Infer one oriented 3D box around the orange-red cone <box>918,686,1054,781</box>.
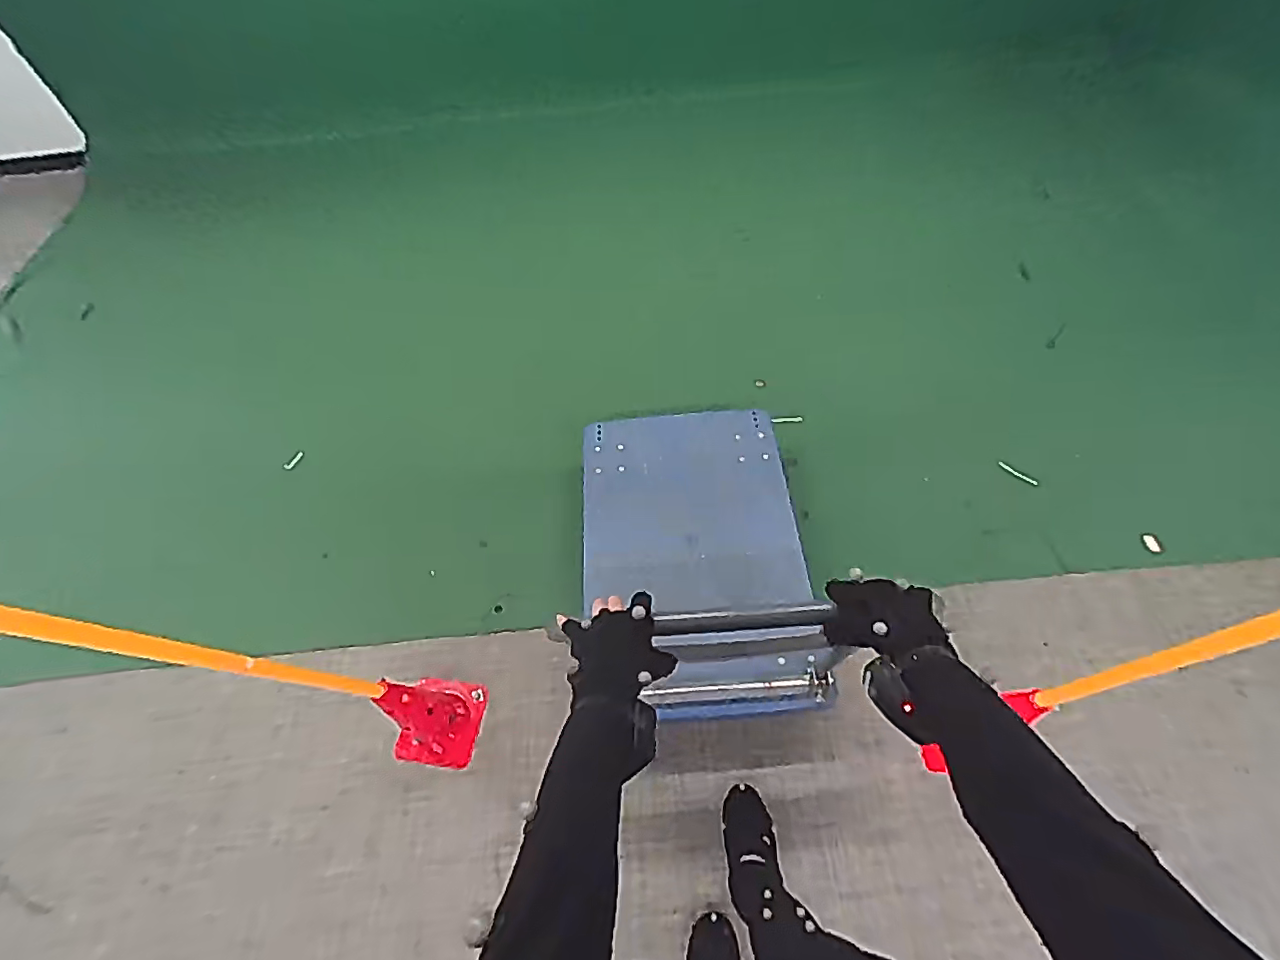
[{"bbox_3d":[0.773,0.515,1.162,0.198,0.360,0.199,3,57,7],"label":"orange-red cone"}]
